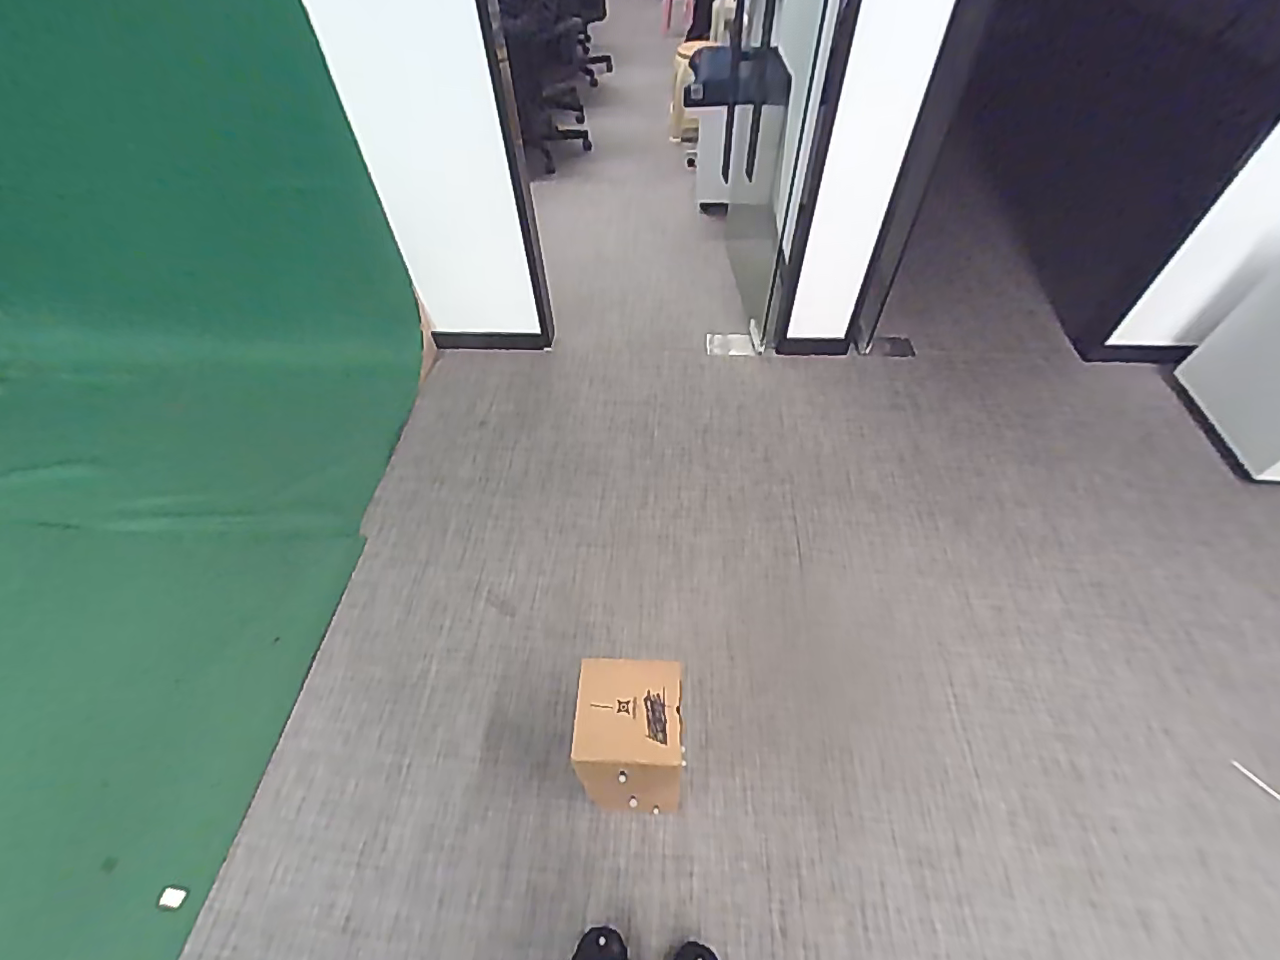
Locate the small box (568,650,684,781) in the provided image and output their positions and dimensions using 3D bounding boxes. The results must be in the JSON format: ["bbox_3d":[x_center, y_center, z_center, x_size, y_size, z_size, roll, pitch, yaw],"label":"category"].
[{"bbox_3d":[-0.018,0.421,0.959,0.179,0.176,0.168,4,50,5],"label":"small box"}]

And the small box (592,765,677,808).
[{"bbox_3d":[-0.005,0.628,1.216,0.179,0.176,0.168,0,51,4],"label":"small box"}]
